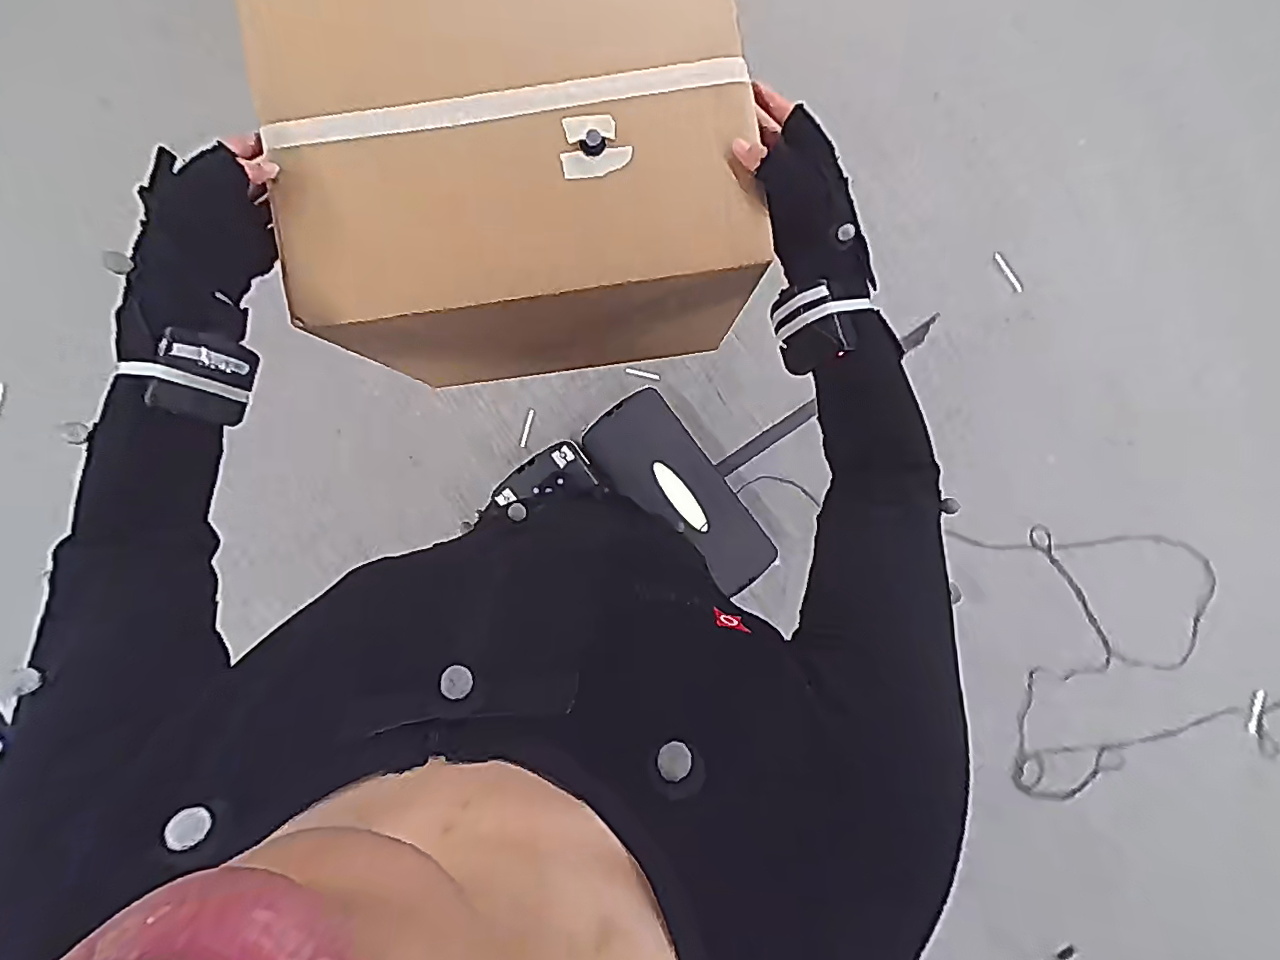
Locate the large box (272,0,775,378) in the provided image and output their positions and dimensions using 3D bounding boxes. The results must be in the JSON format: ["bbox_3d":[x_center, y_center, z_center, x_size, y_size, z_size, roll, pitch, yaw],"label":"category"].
[{"bbox_3d":[-0.104,-0.319,0.609,0.408,0.320,0.320,-7,91,-1],"label":"large box"}]
